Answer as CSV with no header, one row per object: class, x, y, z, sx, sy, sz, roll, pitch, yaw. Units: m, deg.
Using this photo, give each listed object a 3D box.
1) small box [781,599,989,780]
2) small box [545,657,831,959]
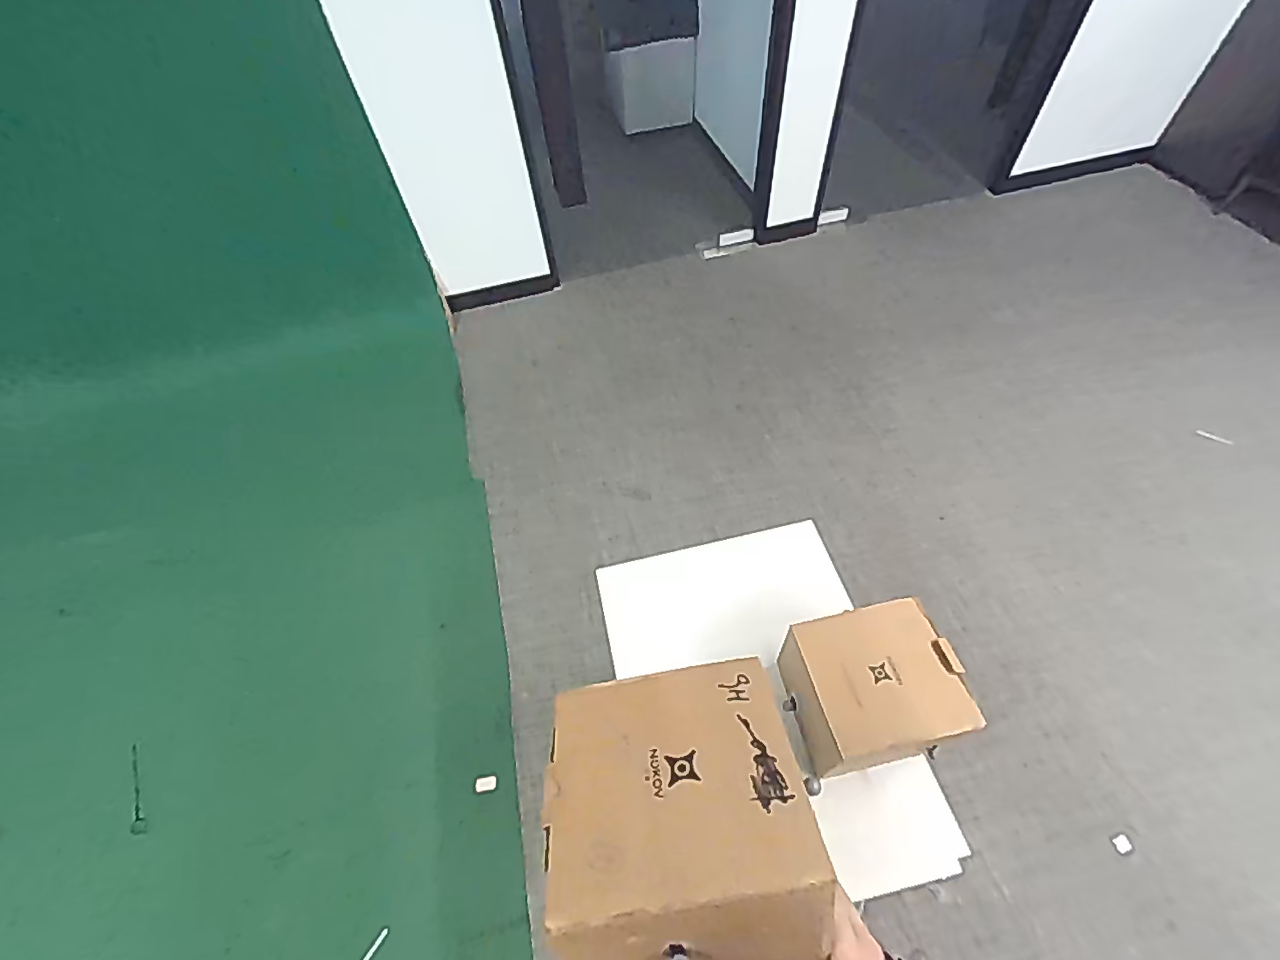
small box,0.304,0.282,0.717,0.179,0.176,0.168,-13,54,-3
small box,0.036,0.272,0.423,0.179,0.176,0.168,-11,32,0
